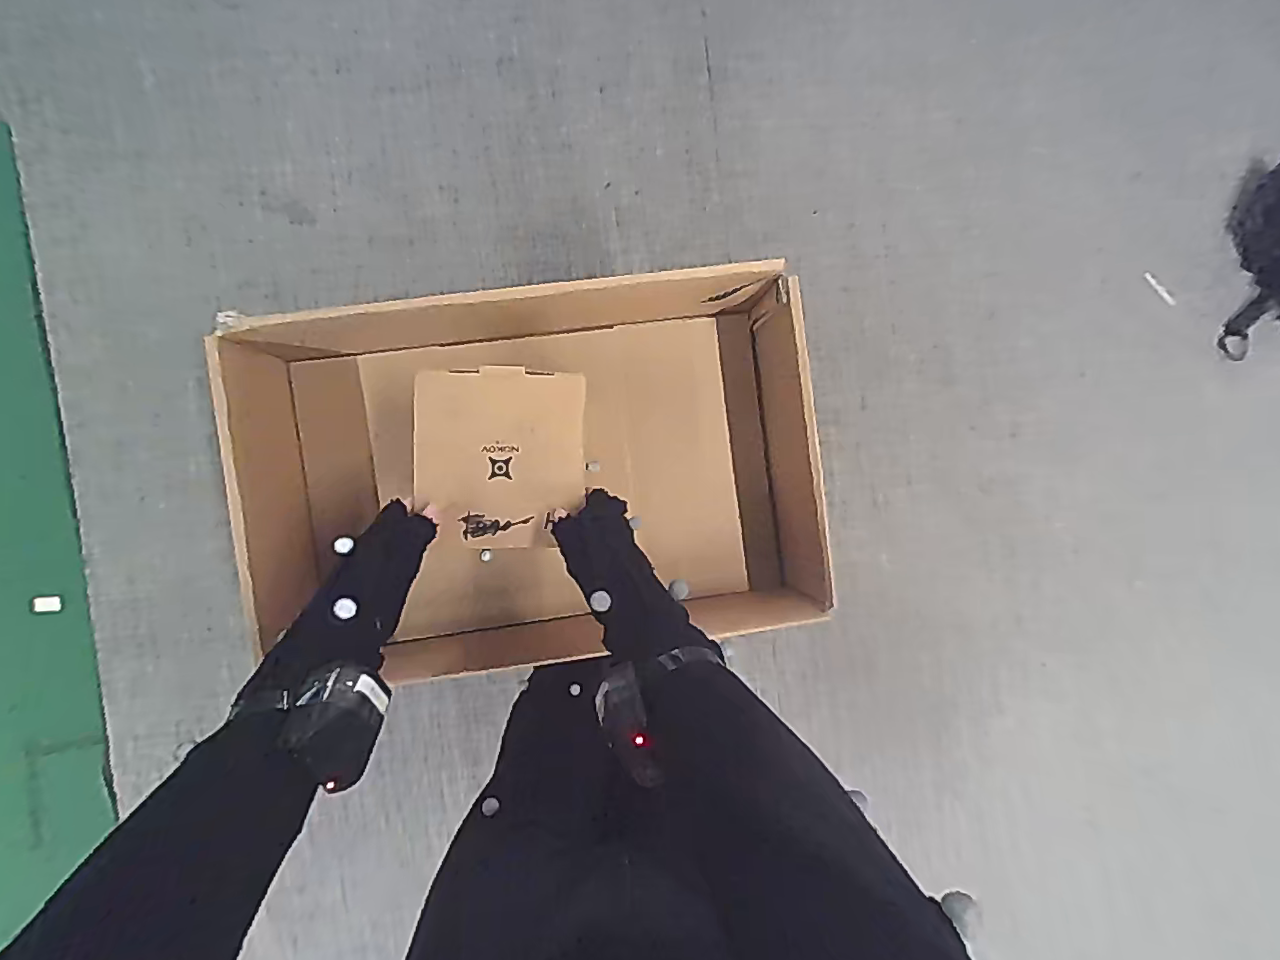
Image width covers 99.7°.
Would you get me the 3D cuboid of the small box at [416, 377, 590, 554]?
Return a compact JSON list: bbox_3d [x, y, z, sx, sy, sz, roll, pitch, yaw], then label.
[{"bbox_3d":[-0.141,-0.008,0.610,0.168,0.176,0.179,0,85,-5],"label":"small box"}]
